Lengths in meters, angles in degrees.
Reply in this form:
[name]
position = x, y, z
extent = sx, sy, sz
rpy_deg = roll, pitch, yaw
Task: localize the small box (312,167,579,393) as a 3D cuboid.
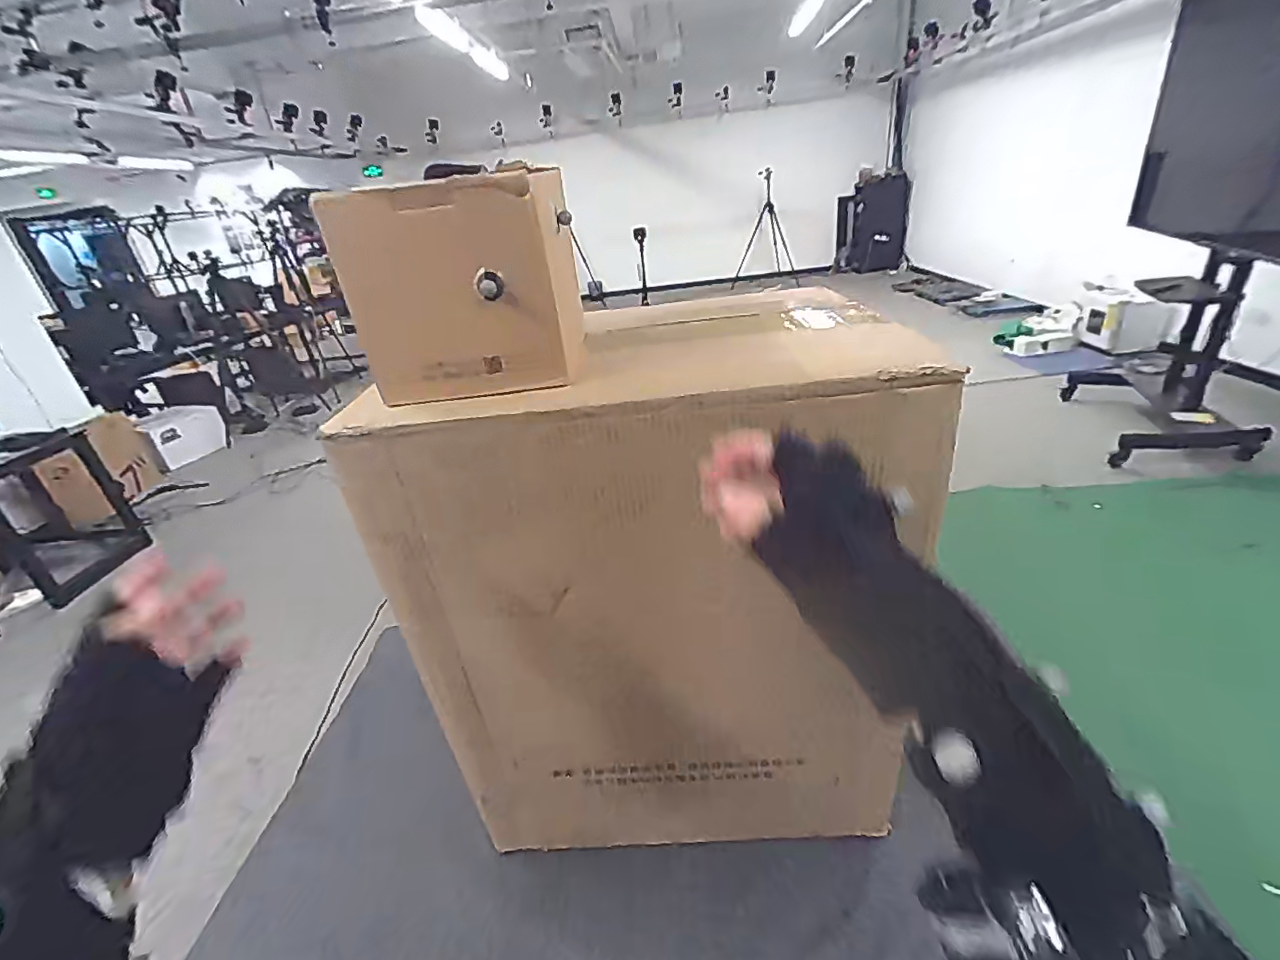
[small box]
position = -0.152, -0.184, 0.501
extent = 0.168, 0.176, 0.179
rpy_deg = -5, 29, 1
